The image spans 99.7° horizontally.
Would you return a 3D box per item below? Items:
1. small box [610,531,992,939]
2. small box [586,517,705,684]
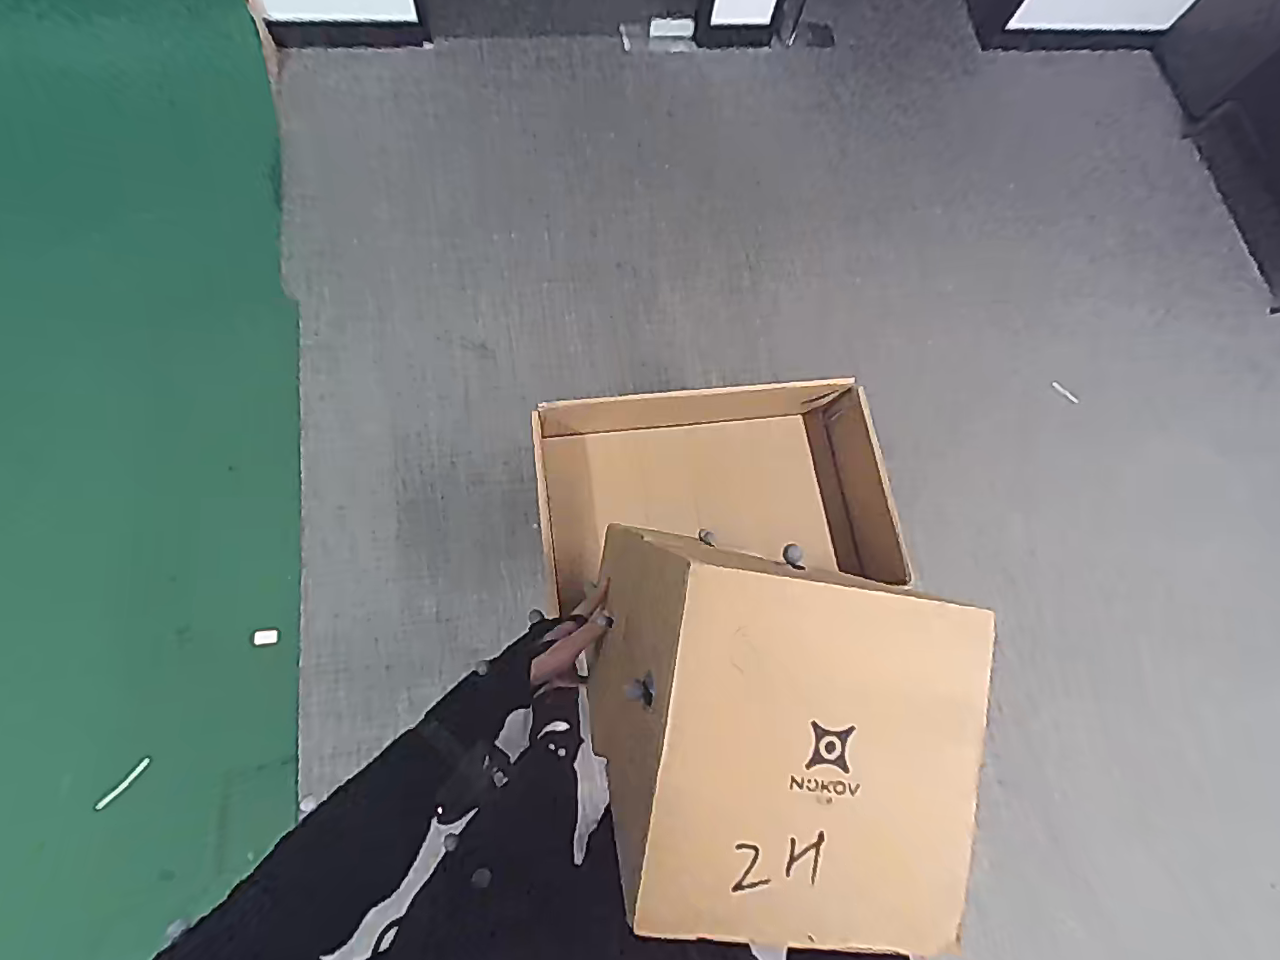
[{"bbox_3d":[0.078,0.130,0.342,0.168,0.176,0.179,11,85,-6],"label":"small box"},{"bbox_3d":[0.029,0.146,0.668,0.168,0.176,0.179,11,86,-8],"label":"small box"}]
